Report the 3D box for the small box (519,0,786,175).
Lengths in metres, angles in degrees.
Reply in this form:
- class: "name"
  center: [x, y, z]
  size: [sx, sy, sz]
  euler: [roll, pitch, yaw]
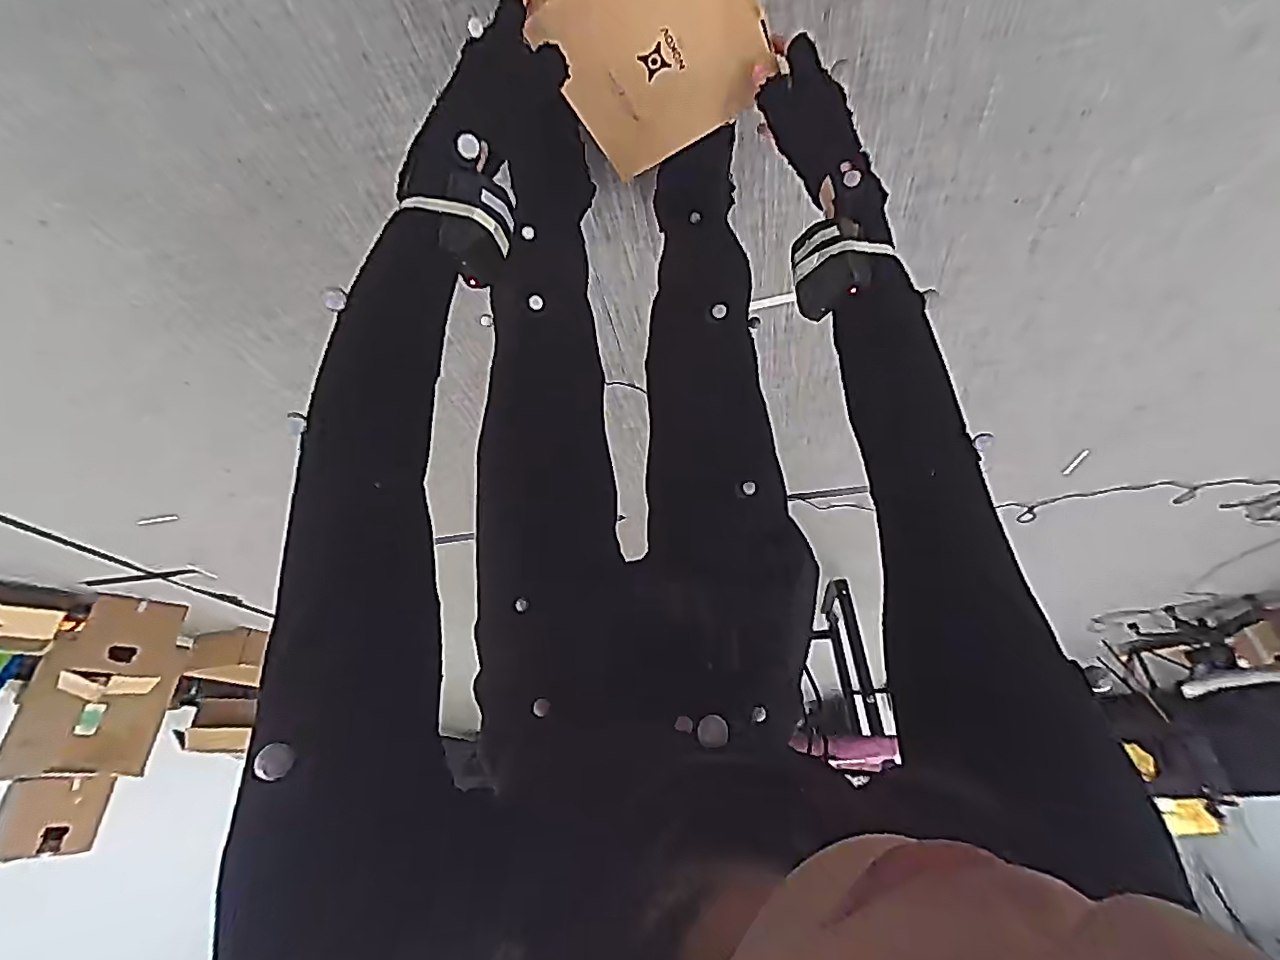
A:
- class: "small box"
  center: [0.011, -0.434, 0.486]
  size: [0.179, 0.176, 0.168]
  euler: [-17, 151, 27]
